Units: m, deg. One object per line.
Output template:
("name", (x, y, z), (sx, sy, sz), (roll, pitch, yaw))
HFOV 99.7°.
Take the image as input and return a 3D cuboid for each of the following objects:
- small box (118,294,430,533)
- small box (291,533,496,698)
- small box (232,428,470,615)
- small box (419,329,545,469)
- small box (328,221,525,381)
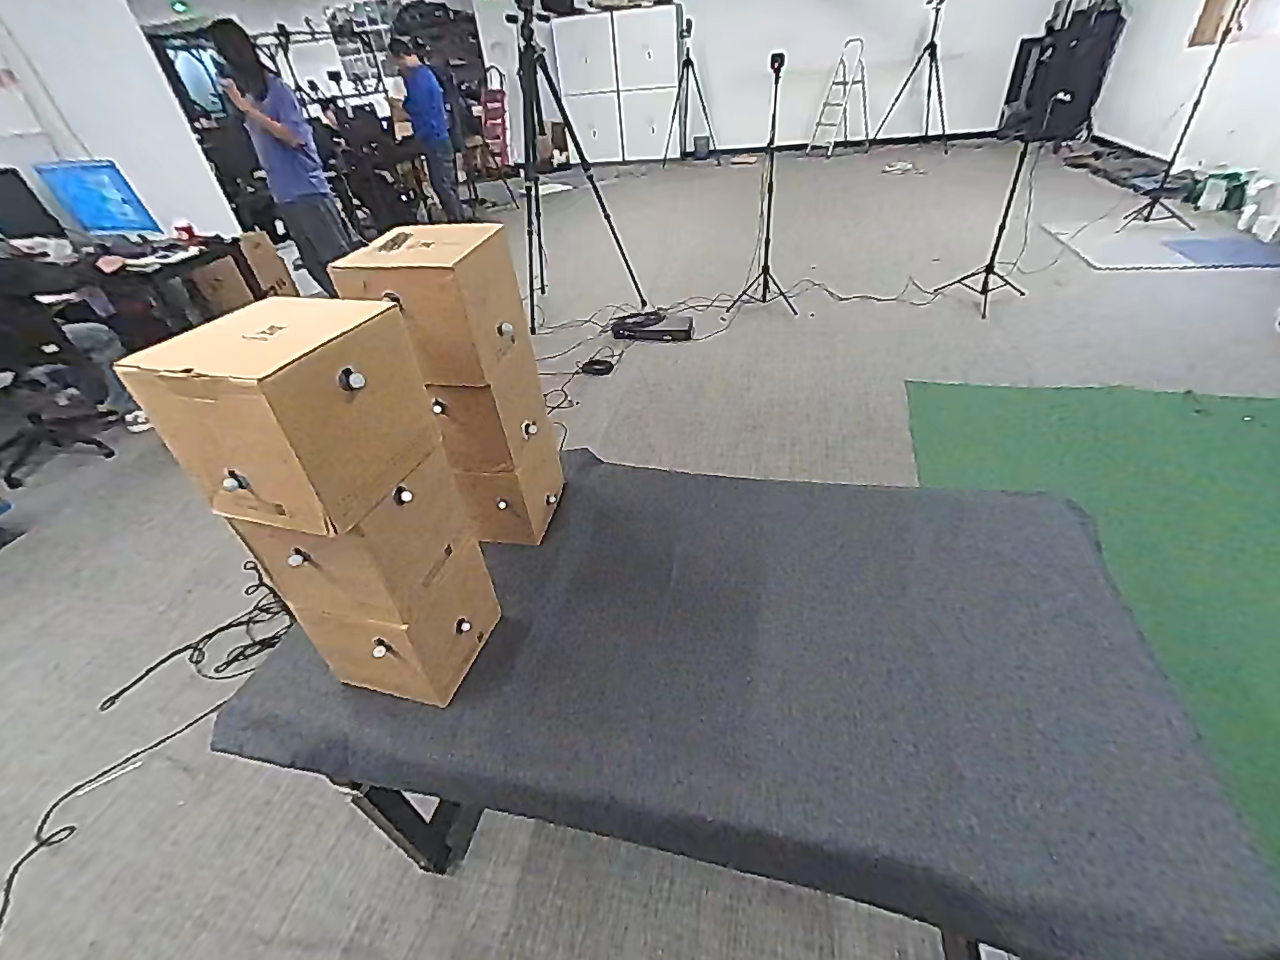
("small box", (-0.339, -0.074, 0.549), (0.168, 0.176, 0.179), (8, 39, 15))
("small box", (-0.325, 0.178, 0.757), (0.179, 0.176, 0.168), (6, 38, 15))
("small box", (-0.340, 0.046, 0.661), (0.179, 0.176, 0.168), (4, 38, 12))
("small box", (-0.272, -0.133, 0.878), (0.179, 0.176, 0.168), (3, 42, 10))
("small box", (-0.284, -0.252, 0.765), (0.179, 0.176, 0.168), (5, 42, 12))
